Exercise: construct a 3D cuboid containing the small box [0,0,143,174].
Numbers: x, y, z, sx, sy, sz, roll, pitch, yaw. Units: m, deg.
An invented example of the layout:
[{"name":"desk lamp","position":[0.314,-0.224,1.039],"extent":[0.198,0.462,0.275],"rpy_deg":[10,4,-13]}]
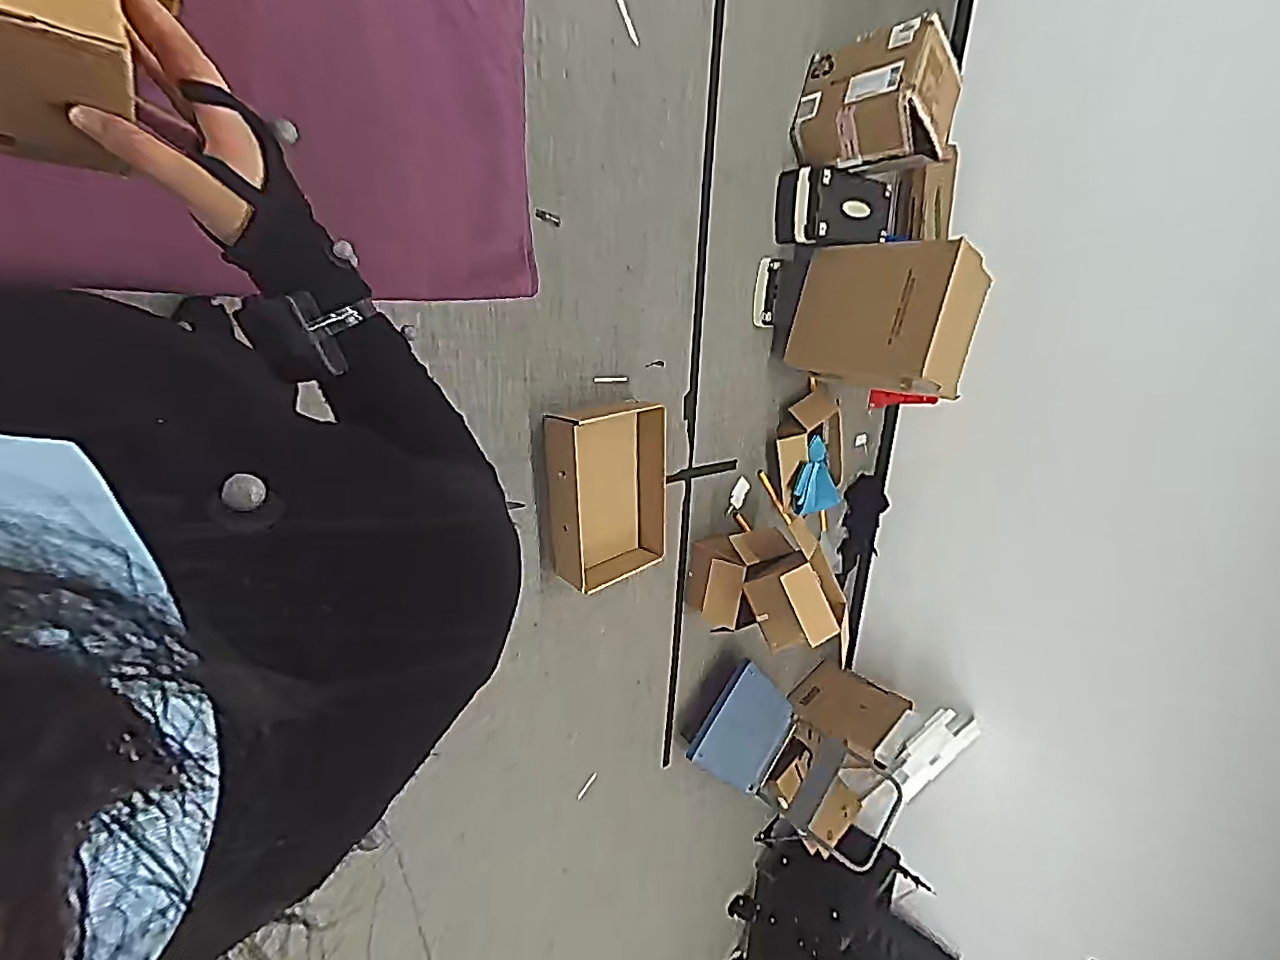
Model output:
[{"name":"small box","position":[-0.361,-0.283,0.256],"extent":[0.168,0.176,0.179],"rpy_deg":[-10,100,-42]}]
